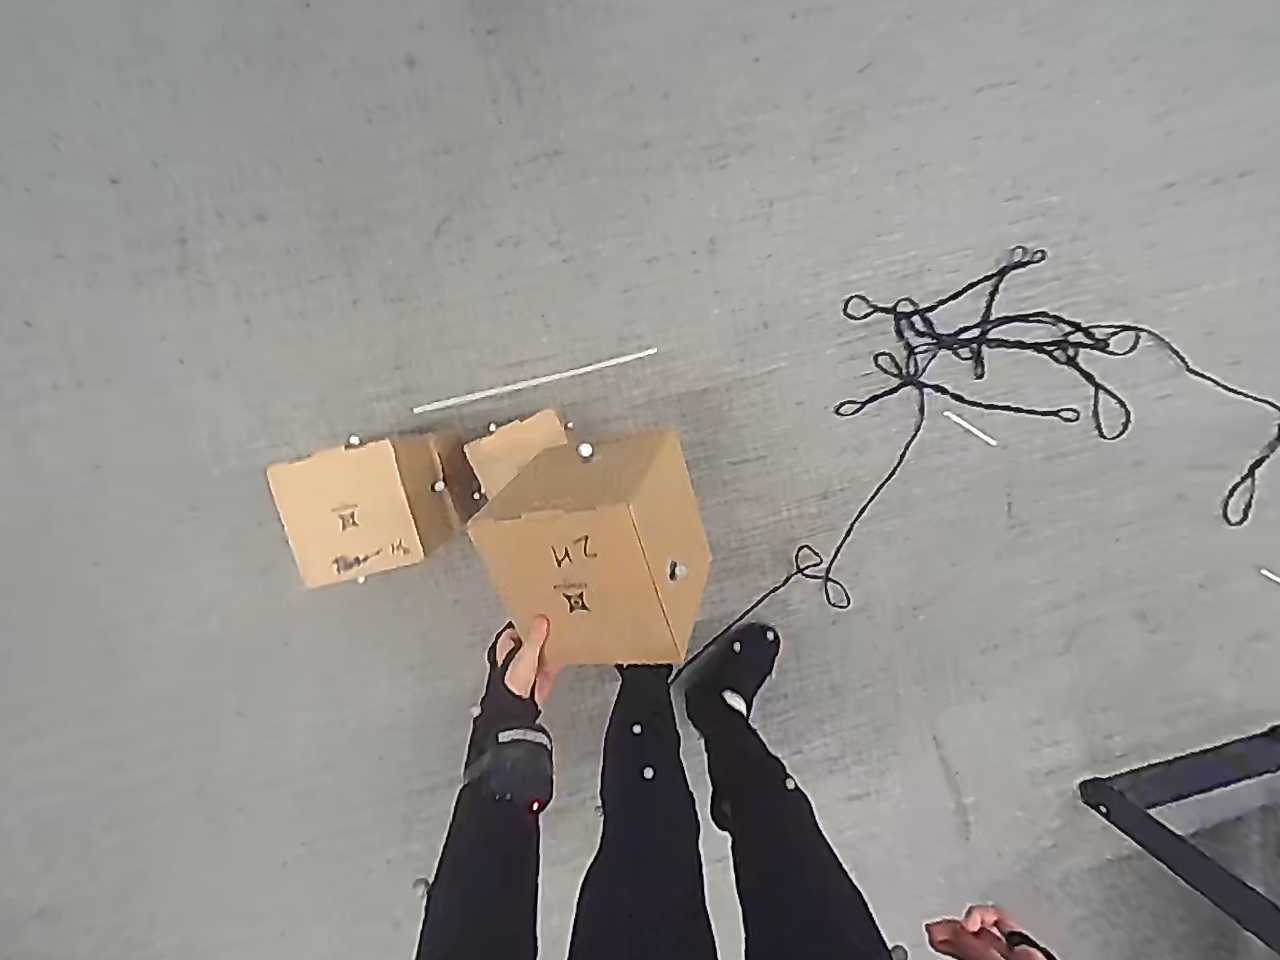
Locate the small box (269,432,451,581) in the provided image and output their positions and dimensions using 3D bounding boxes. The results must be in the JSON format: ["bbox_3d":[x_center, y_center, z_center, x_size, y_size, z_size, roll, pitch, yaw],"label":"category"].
[{"bbox_3d":[-0.400,0.030,0.806,0.168,0.176,0.179,-13,97,-3],"label":"small box"}]

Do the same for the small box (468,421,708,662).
[{"bbox_3d":[-0.035,0.059,0.551,0.168,0.176,0.179,-7,116,21],"label":"small box"}]

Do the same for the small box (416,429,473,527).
[{"bbox_3d":[-0.411,0.007,0.968,0.179,0.176,0.168,-15,98,-3],"label":"small box"}]

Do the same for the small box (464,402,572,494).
[{"bbox_3d":[-0.194,-0.029,0.986,0.168,0.176,0.179,-24,99,-1],"label":"small box"}]
